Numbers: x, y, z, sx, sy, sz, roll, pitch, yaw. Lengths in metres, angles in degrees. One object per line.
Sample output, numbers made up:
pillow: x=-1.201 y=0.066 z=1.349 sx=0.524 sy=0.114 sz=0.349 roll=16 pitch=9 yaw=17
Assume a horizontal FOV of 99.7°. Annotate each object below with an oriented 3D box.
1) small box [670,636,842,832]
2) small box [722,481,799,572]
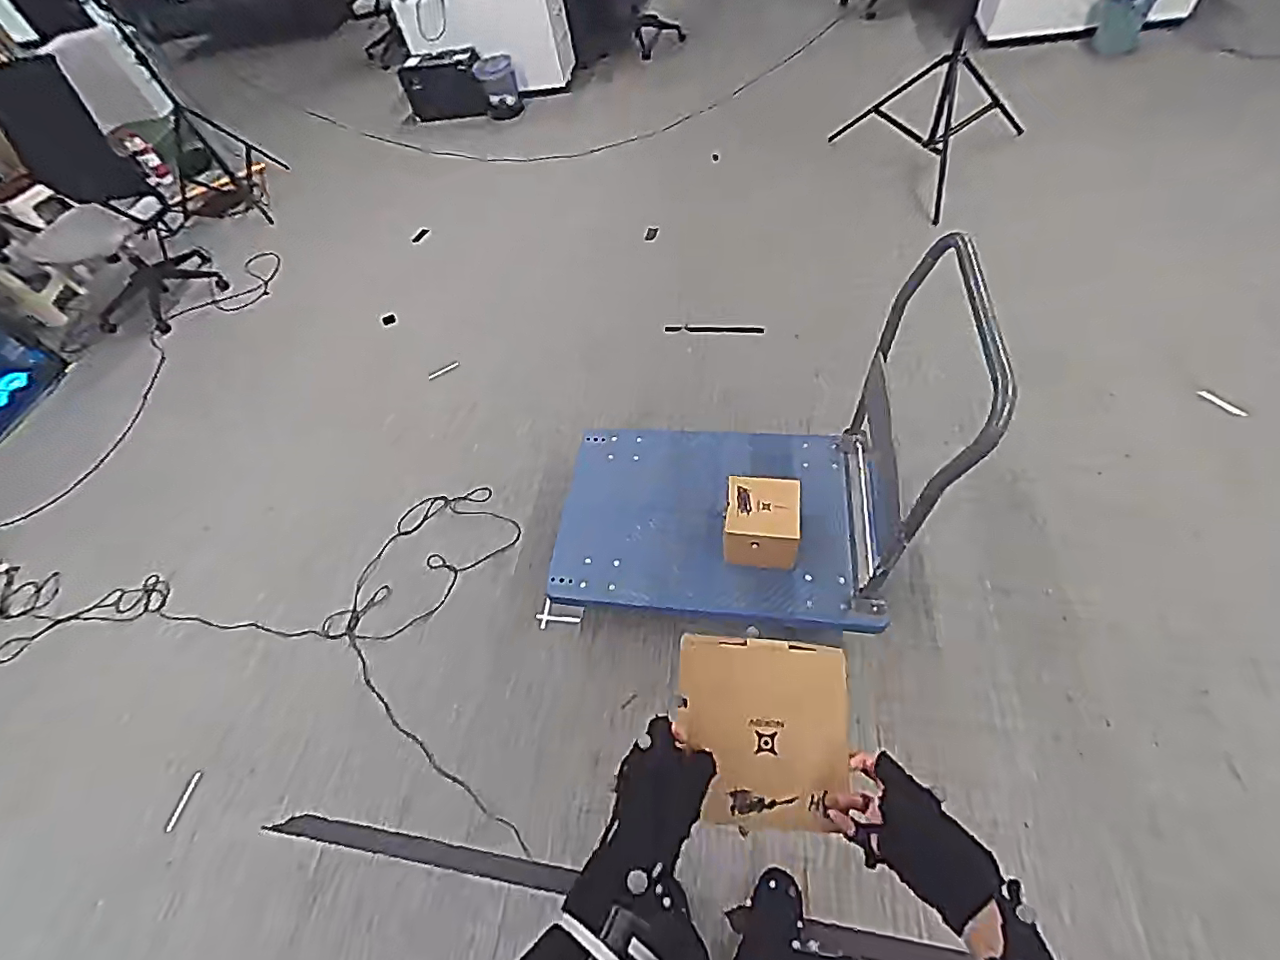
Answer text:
small box: x=0.124 y=0.282 z=0.635 sx=0.168 sy=0.176 sz=0.179 roll=4 pitch=73 yaw=2
small box: x=0.304 y=0.122 z=1.374 sx=0.179 sy=0.176 sz=0.168 roll=5 pitch=56 yaw=12
